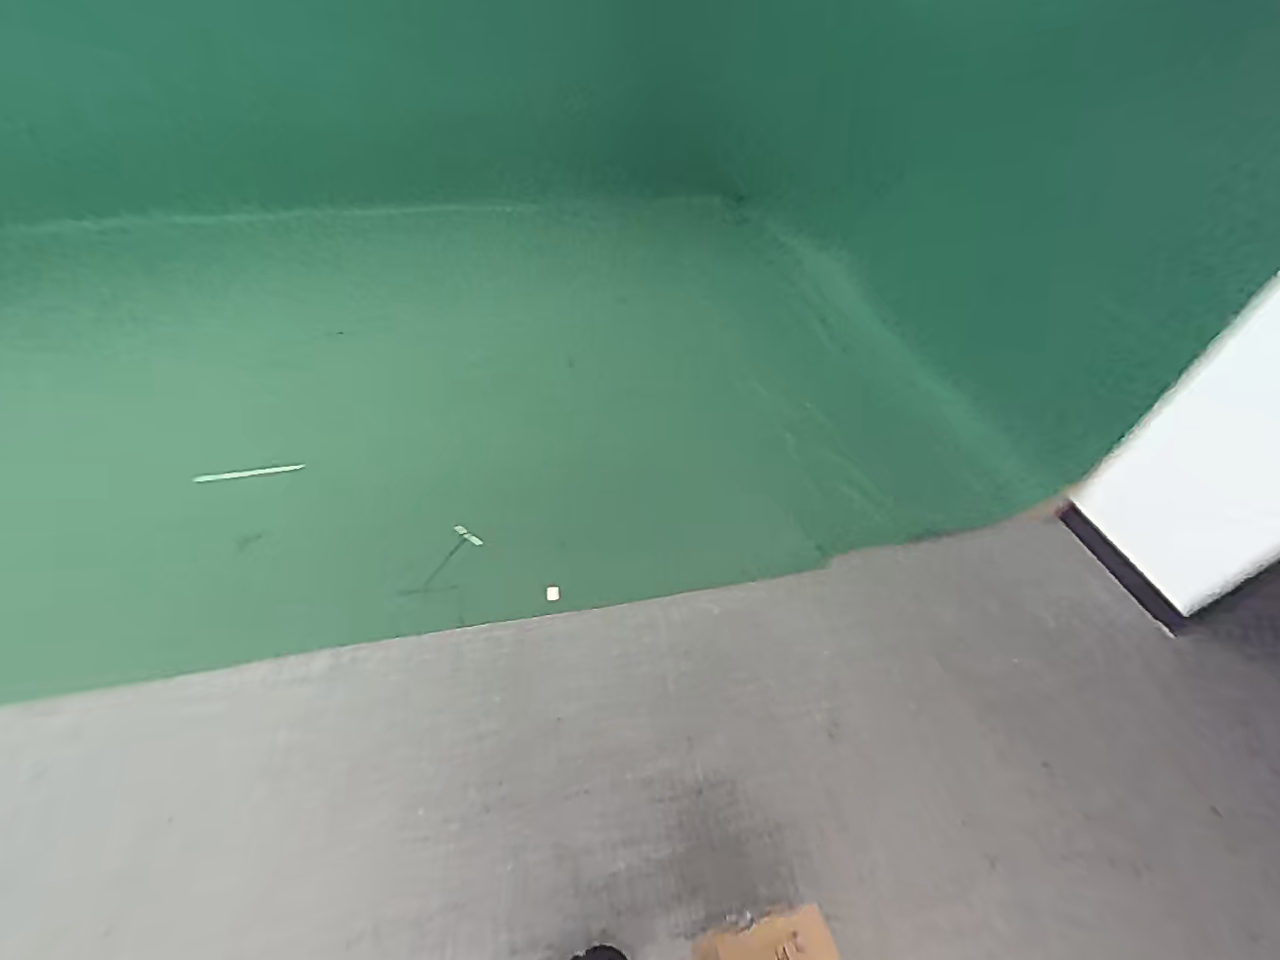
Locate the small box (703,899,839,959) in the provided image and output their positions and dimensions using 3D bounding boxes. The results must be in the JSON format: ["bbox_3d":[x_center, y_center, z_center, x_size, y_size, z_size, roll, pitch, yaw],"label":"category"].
[{"bbox_3d":[0.202,0.750,0.790,0.168,0.176,0.179,-10,47,-12],"label":"small box"}]

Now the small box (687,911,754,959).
[{"bbox_3d":[0.197,0.963,1.042,0.168,0.176,0.179,-11,47,-12],"label":"small box"}]

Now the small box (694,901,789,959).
[{"bbox_3d":[0.198,0.857,0.916,0.168,0.176,0.179,-11,47,-12],"label":"small box"}]
